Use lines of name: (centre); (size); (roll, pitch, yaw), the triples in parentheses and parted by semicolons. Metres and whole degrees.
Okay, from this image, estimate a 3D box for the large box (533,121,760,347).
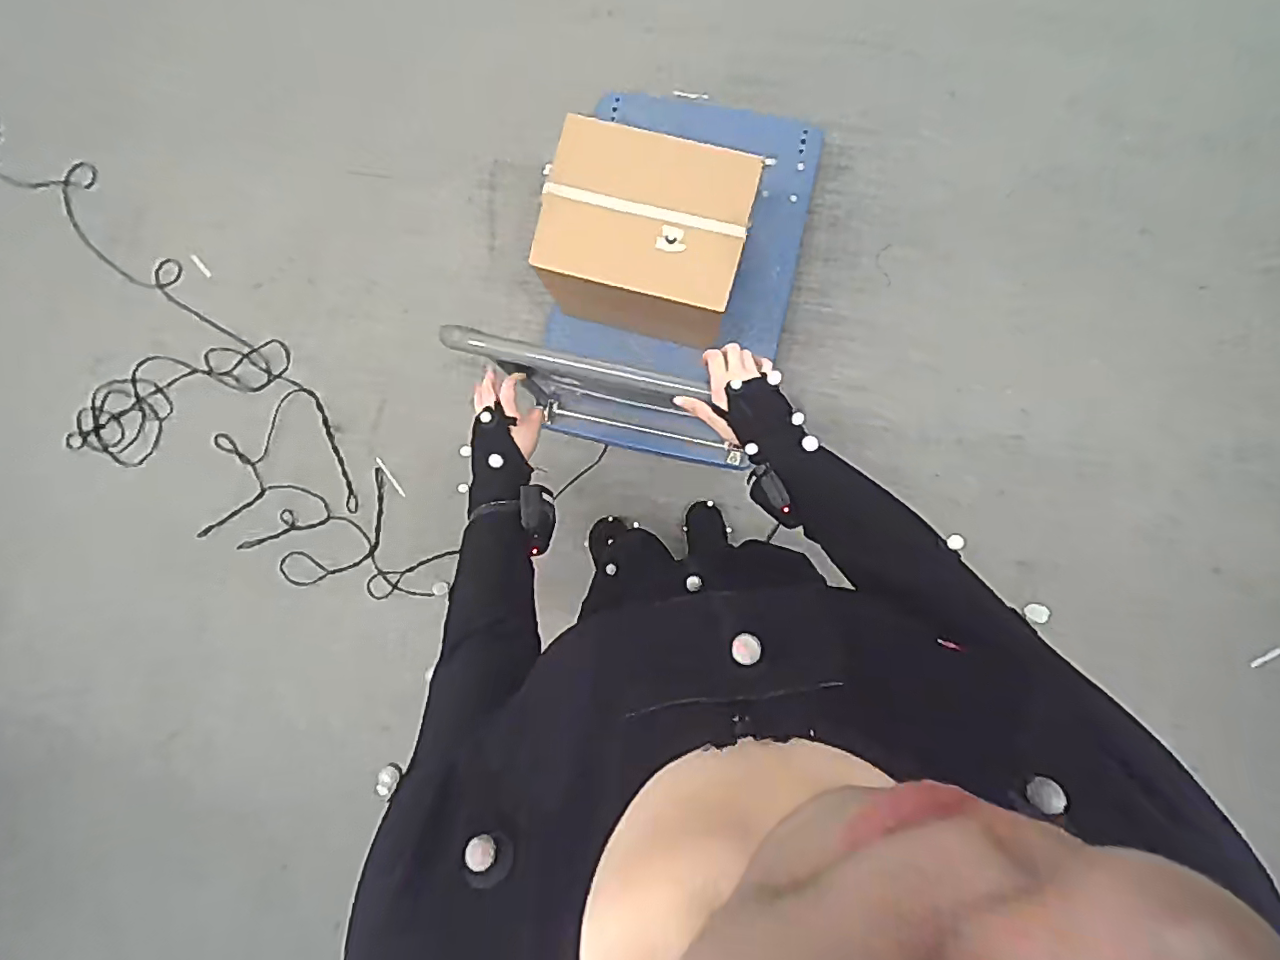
large box: (0.016, -0.529, 1.225); (0.408, 0.320, 0.320); (14, 90, 3)
